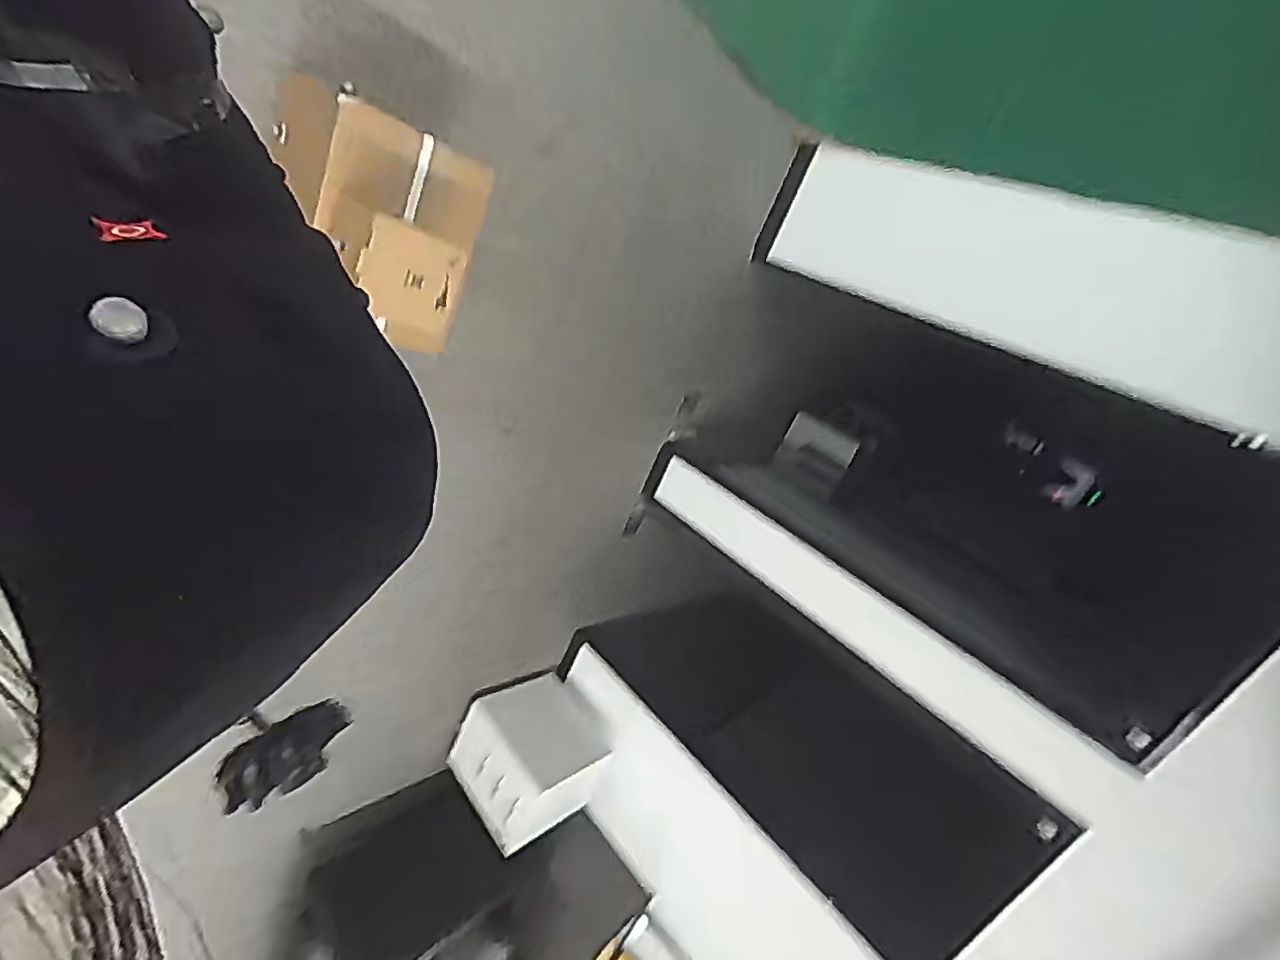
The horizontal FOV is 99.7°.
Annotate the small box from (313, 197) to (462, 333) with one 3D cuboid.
[{"bbox_3d":[-0.469,-0.396,0.995,0.179,0.176,0.168,5,117,-53],"label":"small box"}]
